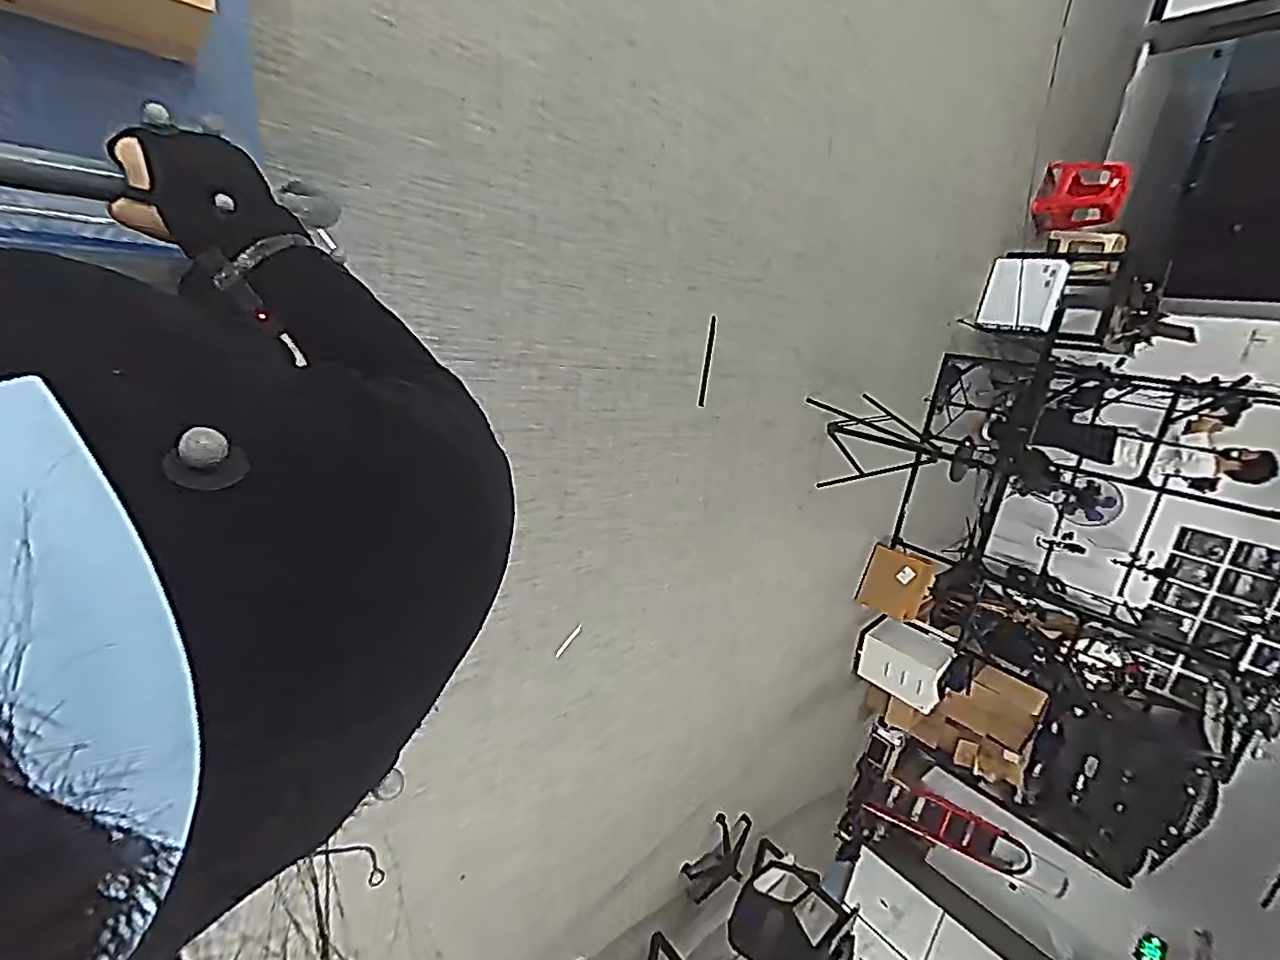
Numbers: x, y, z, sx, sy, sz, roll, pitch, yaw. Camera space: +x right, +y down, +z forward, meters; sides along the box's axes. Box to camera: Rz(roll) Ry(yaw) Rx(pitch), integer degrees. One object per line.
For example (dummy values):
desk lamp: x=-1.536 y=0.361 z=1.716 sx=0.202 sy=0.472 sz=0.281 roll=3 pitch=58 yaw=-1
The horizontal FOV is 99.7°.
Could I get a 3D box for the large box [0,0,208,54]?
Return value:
large box: x=-0.794 y=-0.782 z=0.637 sx=0.408 sy=0.320 sz=0.320 roll=-9 pitch=113 yaw=-40
